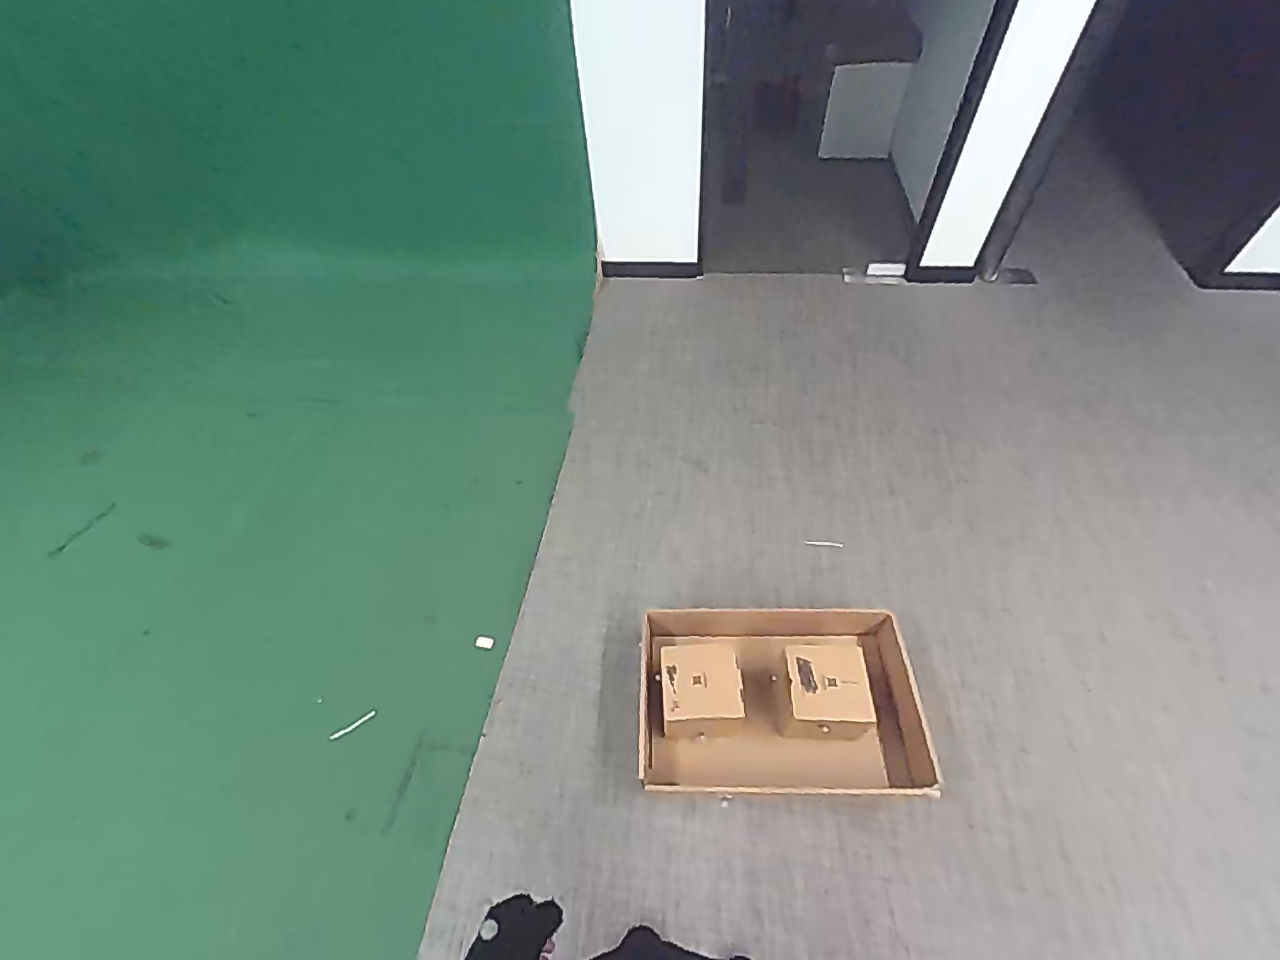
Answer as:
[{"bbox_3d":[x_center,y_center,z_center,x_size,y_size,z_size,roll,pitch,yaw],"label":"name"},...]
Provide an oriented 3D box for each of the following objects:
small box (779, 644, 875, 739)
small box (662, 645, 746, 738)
[{"bbox_3d":[0.424,0.495,1.261,0.179,0.176,0.168,0,52,5],"label":"small box"},{"bbox_3d":[0.143,0.500,1.277,0.179,0.176,0.168,-2,51,1],"label":"small box"}]
